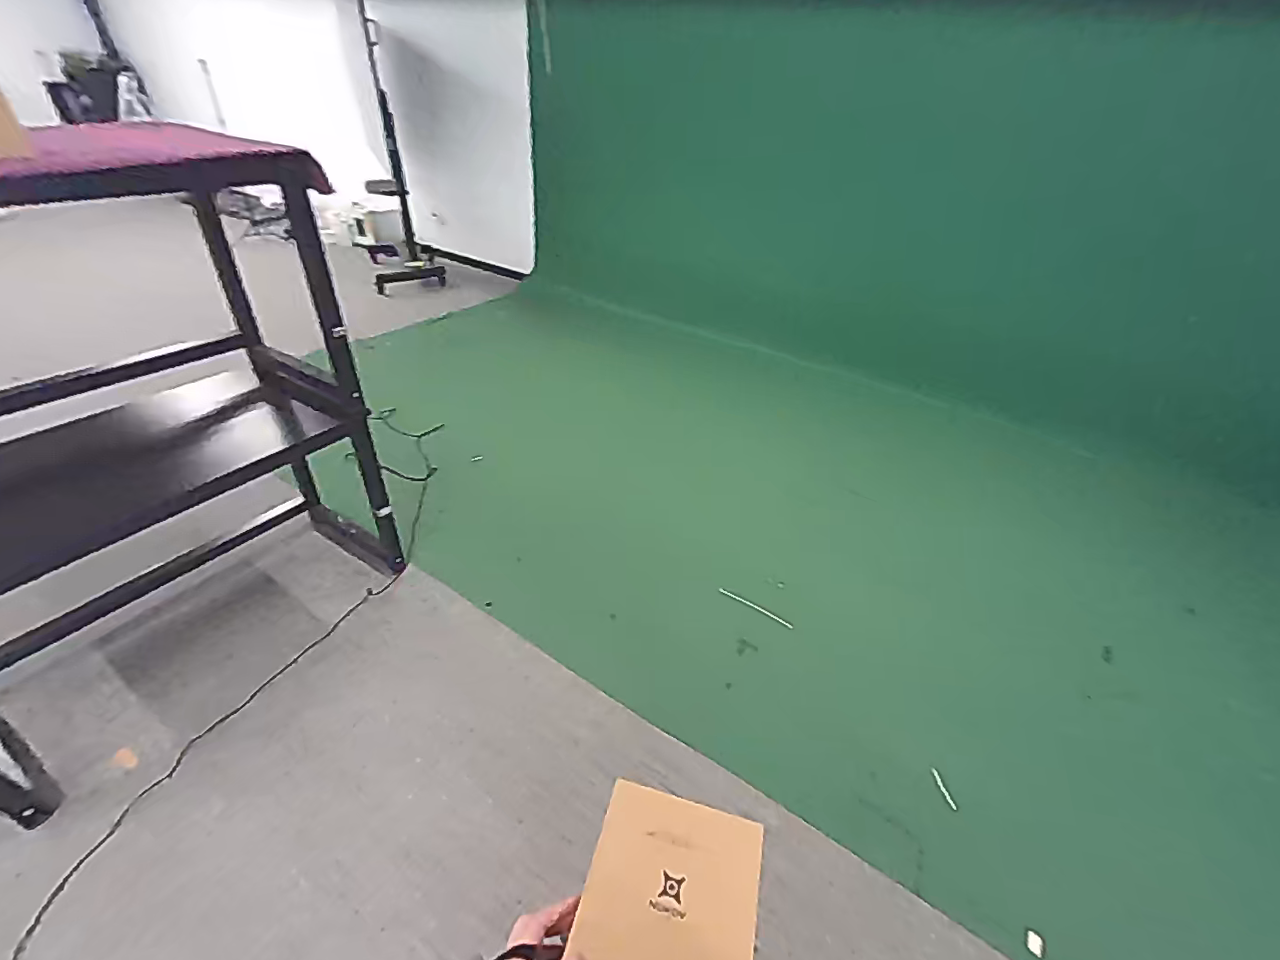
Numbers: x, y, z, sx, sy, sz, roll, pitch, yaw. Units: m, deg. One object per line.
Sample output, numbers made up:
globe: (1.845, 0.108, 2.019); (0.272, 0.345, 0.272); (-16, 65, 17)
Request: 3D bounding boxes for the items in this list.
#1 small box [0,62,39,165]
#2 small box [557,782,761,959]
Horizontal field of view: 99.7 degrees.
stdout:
small box: (-1.233, -0.658, 0.956); (0.168, 0.176, 0.179); (23, 39, 25)
small box: (0.020, 0.461, 0.560); (0.168, 0.176, 0.179); (13, 36, 10)
